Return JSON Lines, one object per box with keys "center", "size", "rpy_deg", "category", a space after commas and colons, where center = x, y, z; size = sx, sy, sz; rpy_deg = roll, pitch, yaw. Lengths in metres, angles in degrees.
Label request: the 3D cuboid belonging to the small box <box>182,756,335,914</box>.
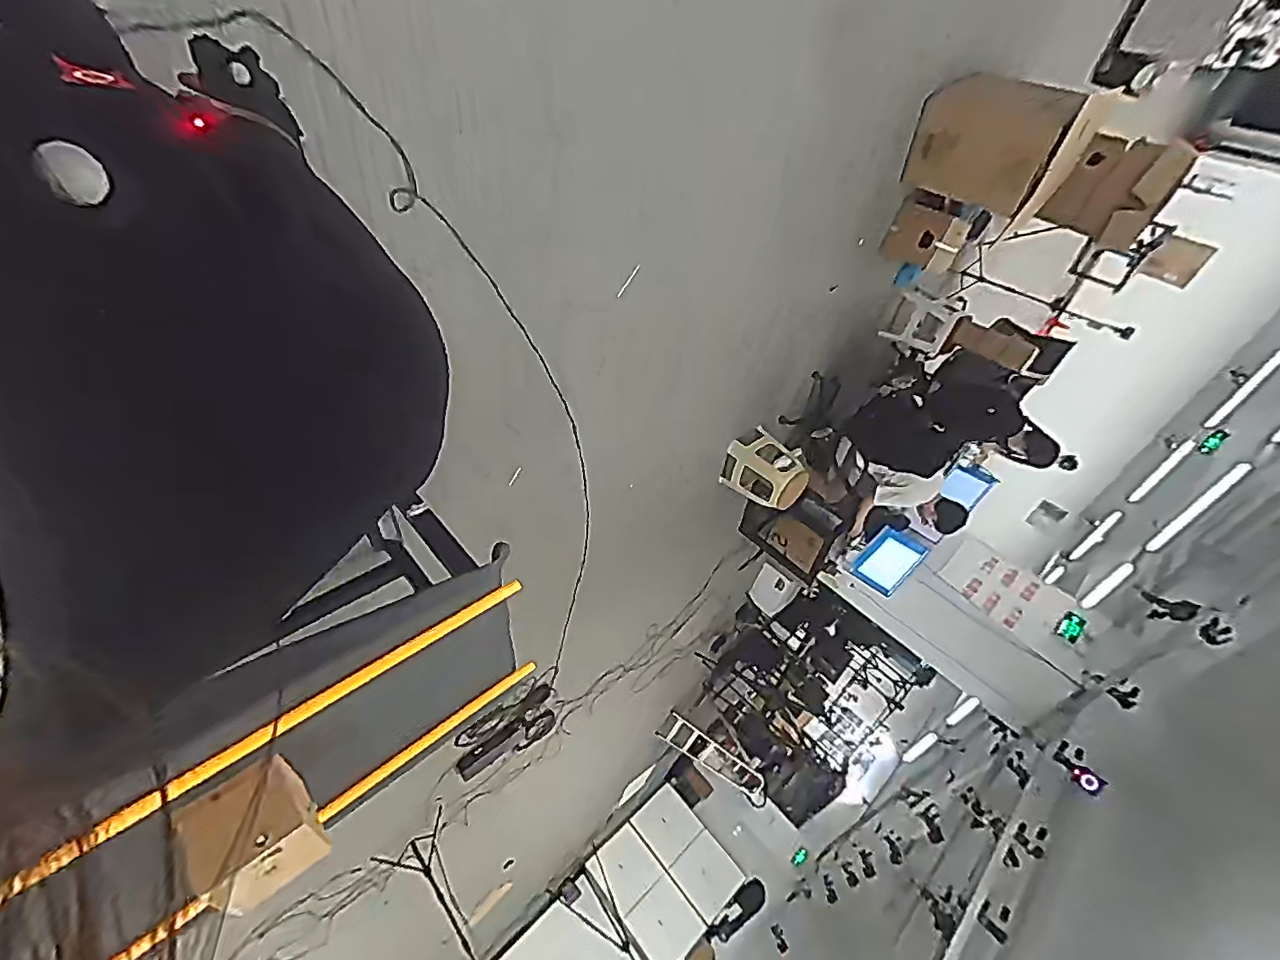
{"center": [-0.714, 0.662, 1.020], "size": [0.168, 0.176, 0.179], "rpy_deg": [-31, 146, -33], "category": "small box"}
